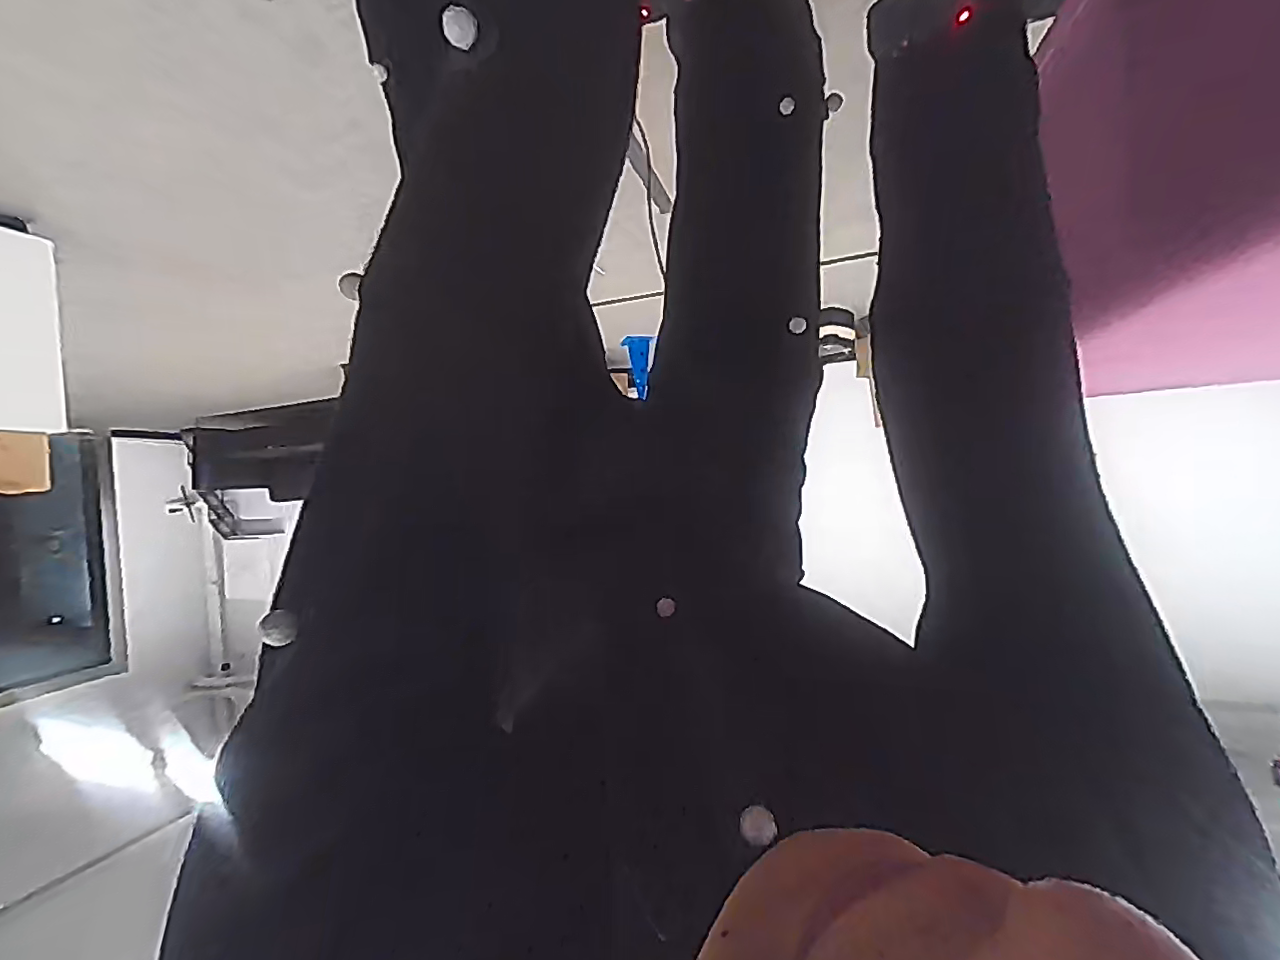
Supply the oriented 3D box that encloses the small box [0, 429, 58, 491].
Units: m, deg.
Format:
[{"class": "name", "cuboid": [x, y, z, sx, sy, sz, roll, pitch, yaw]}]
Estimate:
[{"class": "small box", "cuboid": [-1.823, -0.054, 1.542, 0.179, 0.176, 0.168, -2, -179, 19]}]
